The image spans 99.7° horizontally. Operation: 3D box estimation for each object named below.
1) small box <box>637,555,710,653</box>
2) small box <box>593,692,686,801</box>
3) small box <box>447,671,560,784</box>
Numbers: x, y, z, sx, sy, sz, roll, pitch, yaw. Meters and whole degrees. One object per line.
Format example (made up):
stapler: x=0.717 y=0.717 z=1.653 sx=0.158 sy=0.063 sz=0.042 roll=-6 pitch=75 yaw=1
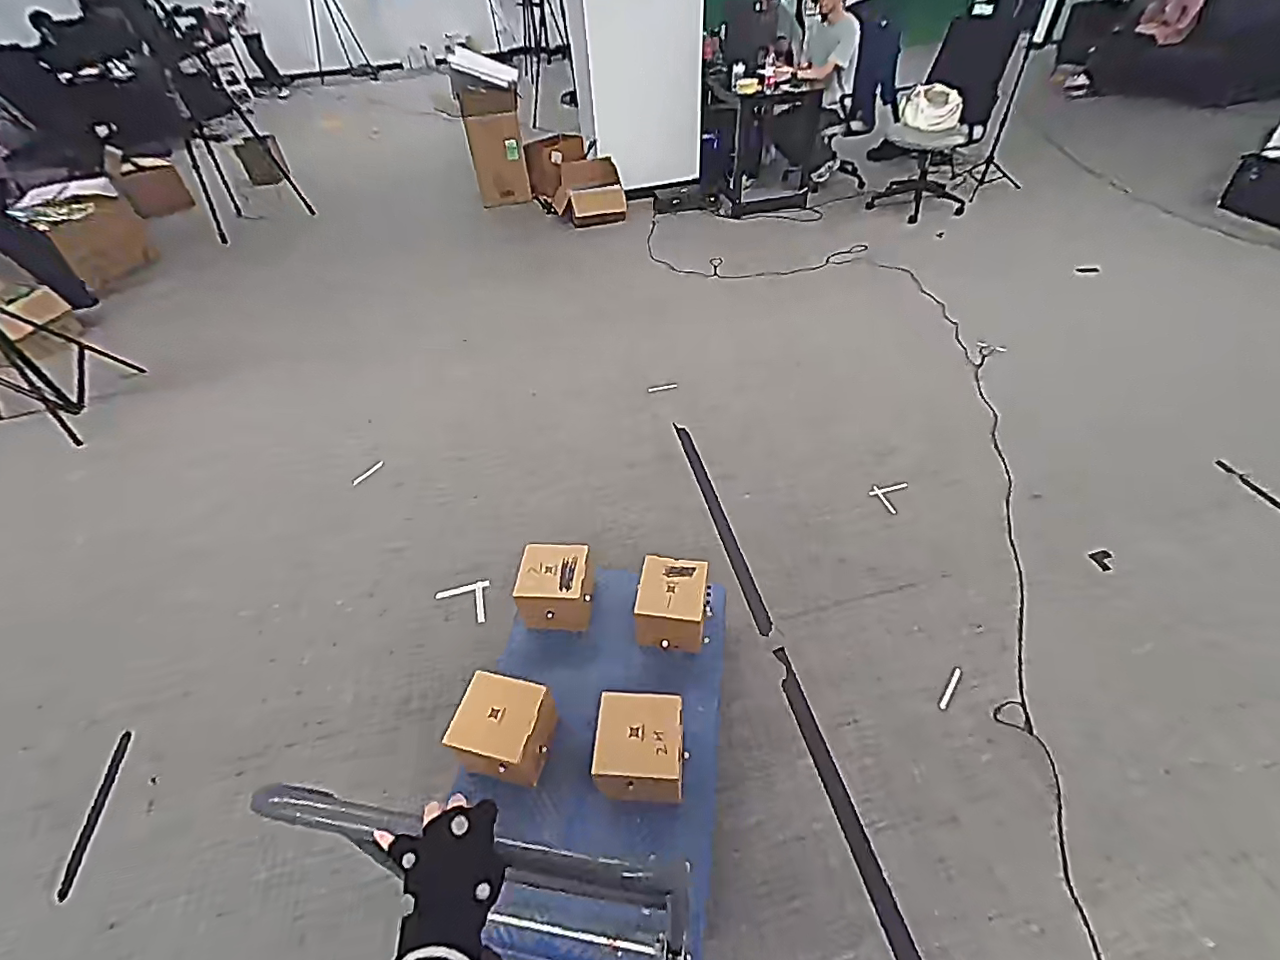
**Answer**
small box: x=0.091 y=0.323 z=1.409 sx=0.168 sy=0.176 sz=0.179 roll=5 pitch=47 yaw=10
small box: x=0.007 y=0.576 z=1.165 sx=0.179 sy=0.176 sz=0.168 roll=1 pitch=46 yaw=7
small box: x=-0.296 y=0.557 z=1.214 sx=0.179 sy=0.176 sz=0.168 roll=8 pitch=47 yaw=12
